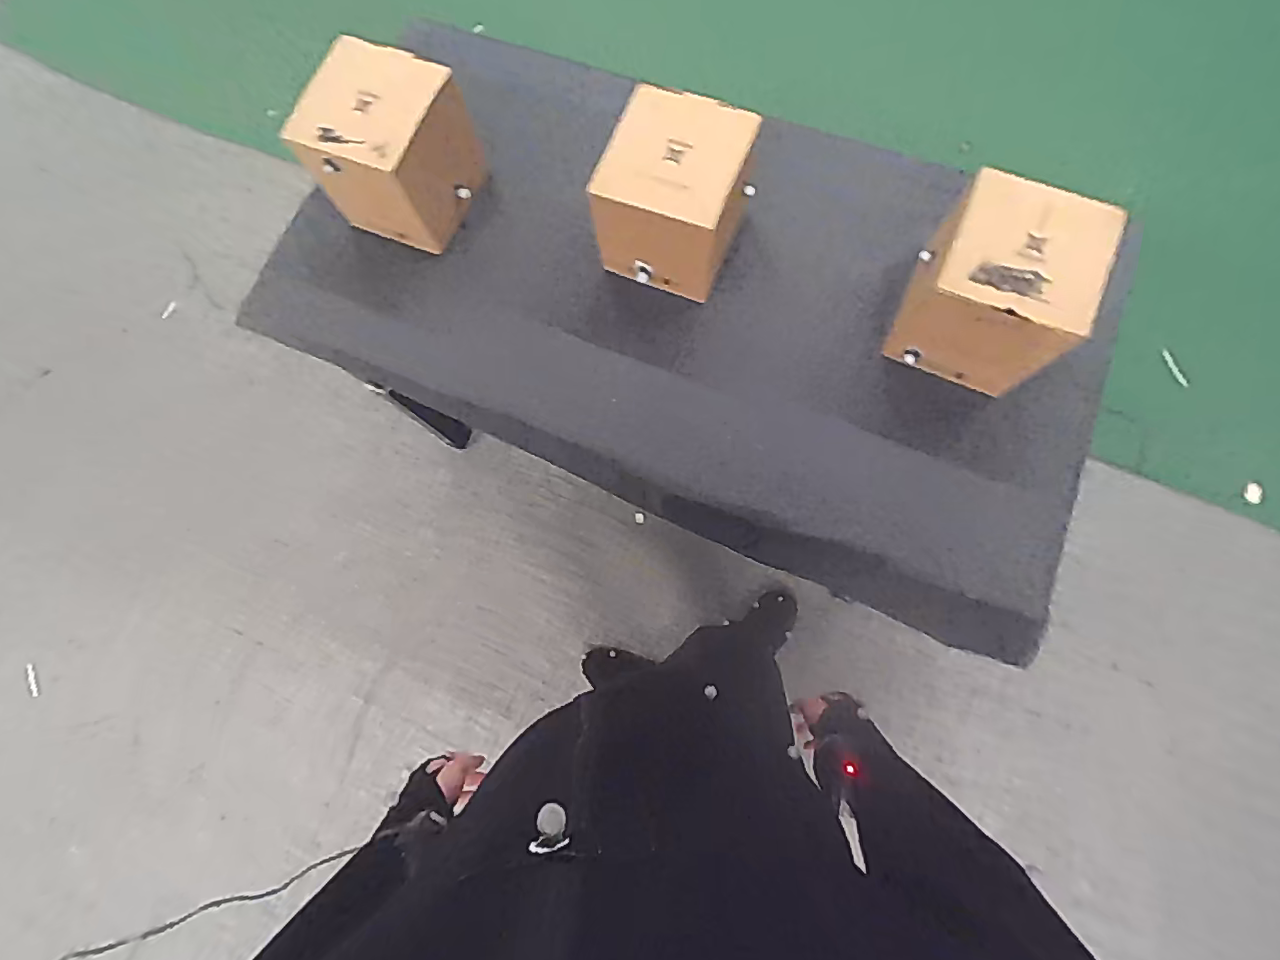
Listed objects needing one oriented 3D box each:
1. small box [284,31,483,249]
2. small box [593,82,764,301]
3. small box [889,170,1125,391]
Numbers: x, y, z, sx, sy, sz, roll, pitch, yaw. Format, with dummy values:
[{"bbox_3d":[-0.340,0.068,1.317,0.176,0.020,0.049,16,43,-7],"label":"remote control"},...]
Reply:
[{"bbox_3d":[-0.345,-0.473,0.772,0.168,0.176,0.179,22,79,7],"label":"small box"},{"bbox_3d":[0.052,-0.382,0.738,0.168,0.176,0.179,21,81,8],"label":"small box"},{"bbox_3d":[0.443,-0.238,0.685,0.168,0.176,0.179,24,79,8],"label":"small box"}]
